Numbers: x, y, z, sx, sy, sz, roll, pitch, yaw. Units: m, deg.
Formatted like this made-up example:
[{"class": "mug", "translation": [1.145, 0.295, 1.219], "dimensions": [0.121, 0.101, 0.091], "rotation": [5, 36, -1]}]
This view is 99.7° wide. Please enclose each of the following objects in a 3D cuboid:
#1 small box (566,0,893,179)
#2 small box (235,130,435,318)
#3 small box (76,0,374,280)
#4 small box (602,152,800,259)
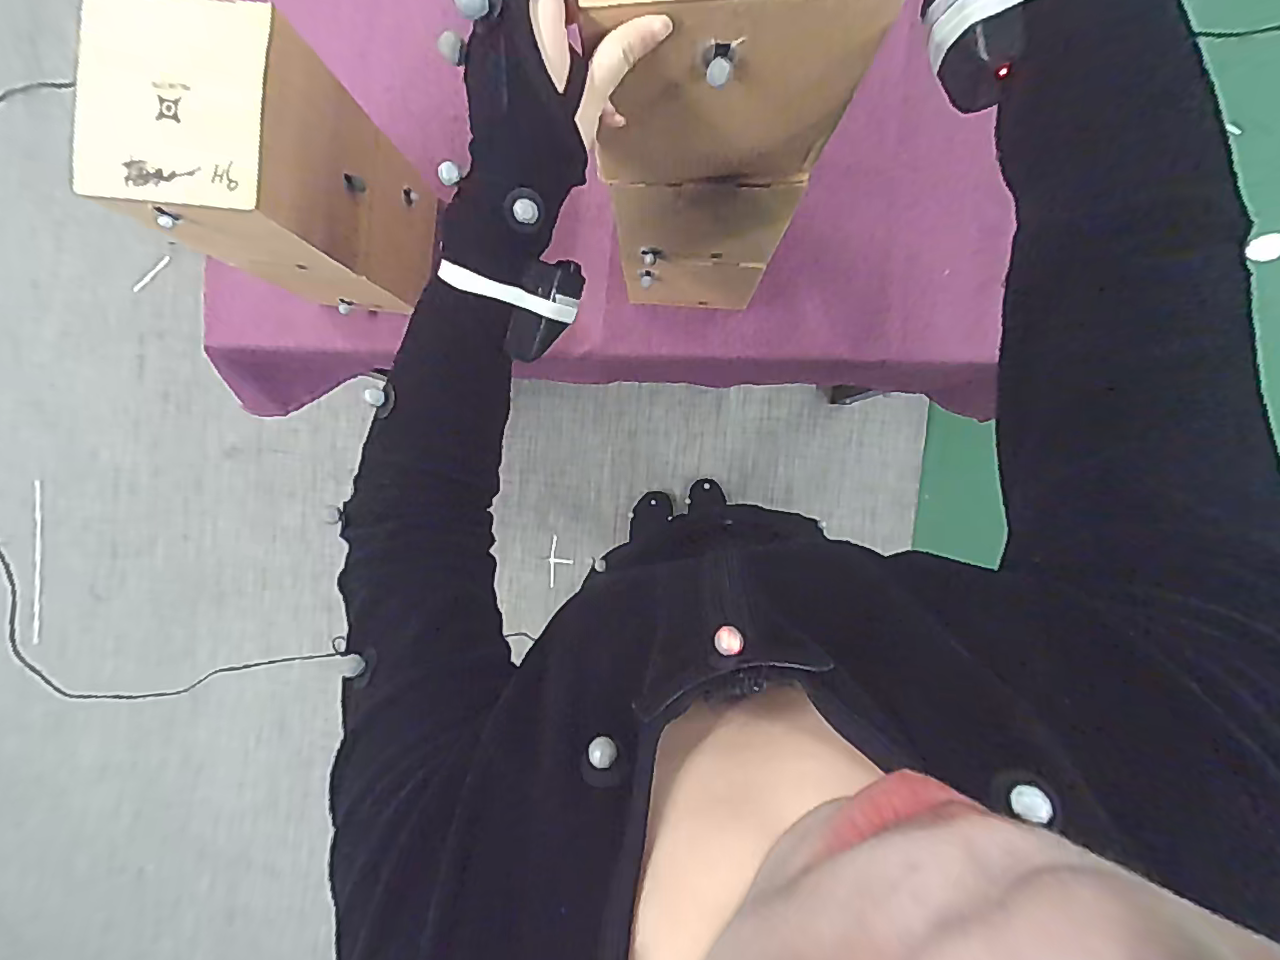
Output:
[{"class": "small box", "translation": [0.047, -0.329, 0.360], "dimensions": [0.179, 0.176, 0.168], "rotation": [-3, 90, 3]}, {"class": "small box", "translation": [-0.386, -0.330, 0.709], "dimensions": [0.168, 0.176, 0.179], "rotation": [7, 93, 3]}, {"class": "small box", "translation": [-0.394, -0.325, 0.544], "dimensions": [0.168, 0.176, 0.179], "rotation": [7, 91, 4]}, {"class": "small box", "translation": [0.056, -0.329, 0.524], "dimensions": [0.168, 0.176, 0.179], "rotation": [1, 90, 2]}]
